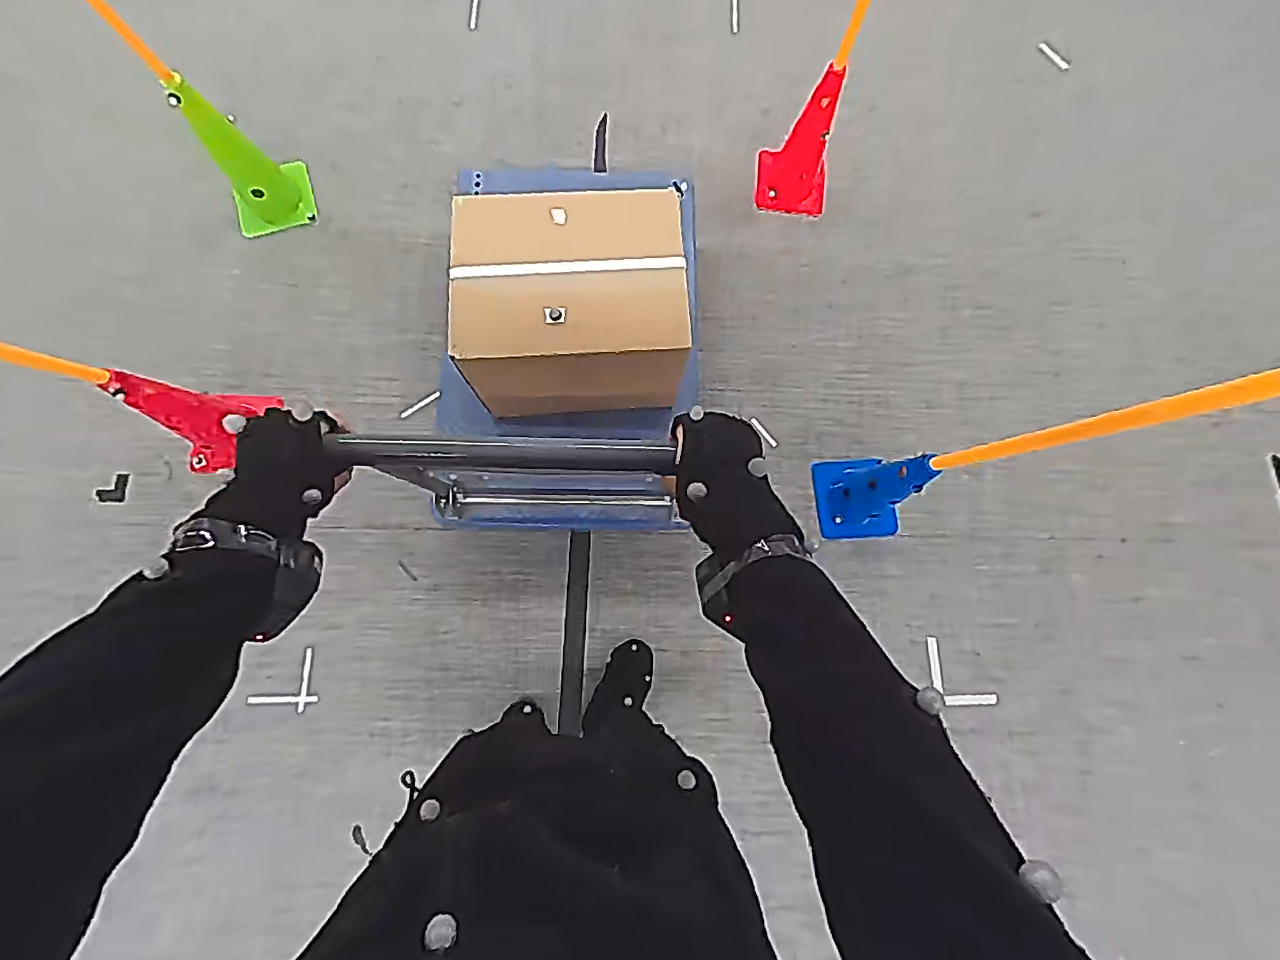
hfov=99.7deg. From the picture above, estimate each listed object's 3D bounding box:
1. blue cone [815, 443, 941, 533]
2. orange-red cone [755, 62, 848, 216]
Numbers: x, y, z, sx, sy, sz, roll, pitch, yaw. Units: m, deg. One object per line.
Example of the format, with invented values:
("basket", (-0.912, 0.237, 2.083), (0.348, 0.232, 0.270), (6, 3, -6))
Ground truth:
("blue cone", (0.553, 0.000, 1.209), (0.193, 0.380, 0.192), (-2, 77, -3))
("orange-red cone", (0.444, -0.888, 1.383), (0.199, 0.360, 0.198), (8, 78, -1))
